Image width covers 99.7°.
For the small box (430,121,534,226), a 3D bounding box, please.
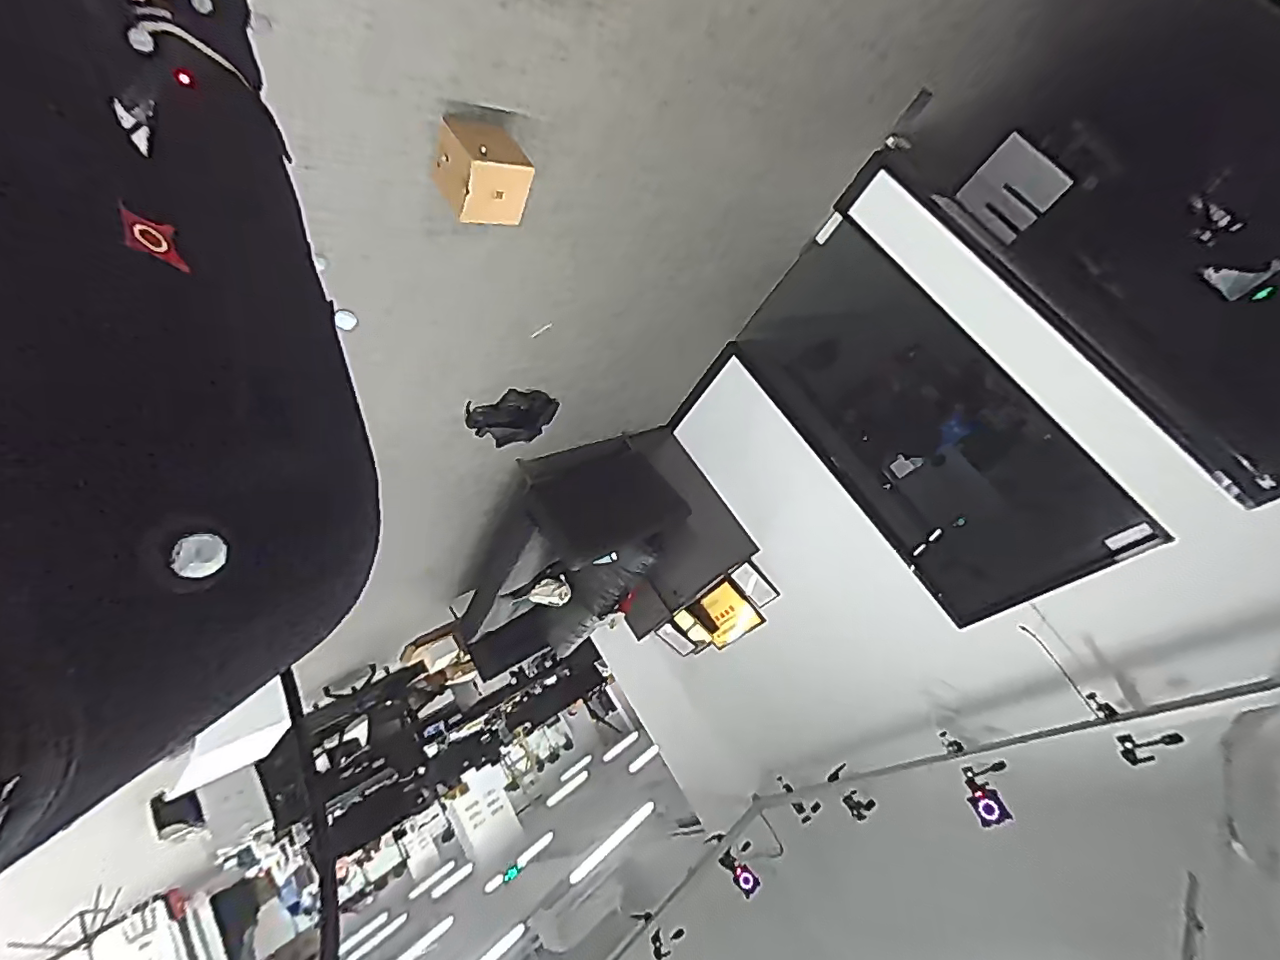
[{"bbox_3d":[-0.405,-0.776,1.375,0.179,0.176,0.168,-20,159,-40],"label":"small box"}]
